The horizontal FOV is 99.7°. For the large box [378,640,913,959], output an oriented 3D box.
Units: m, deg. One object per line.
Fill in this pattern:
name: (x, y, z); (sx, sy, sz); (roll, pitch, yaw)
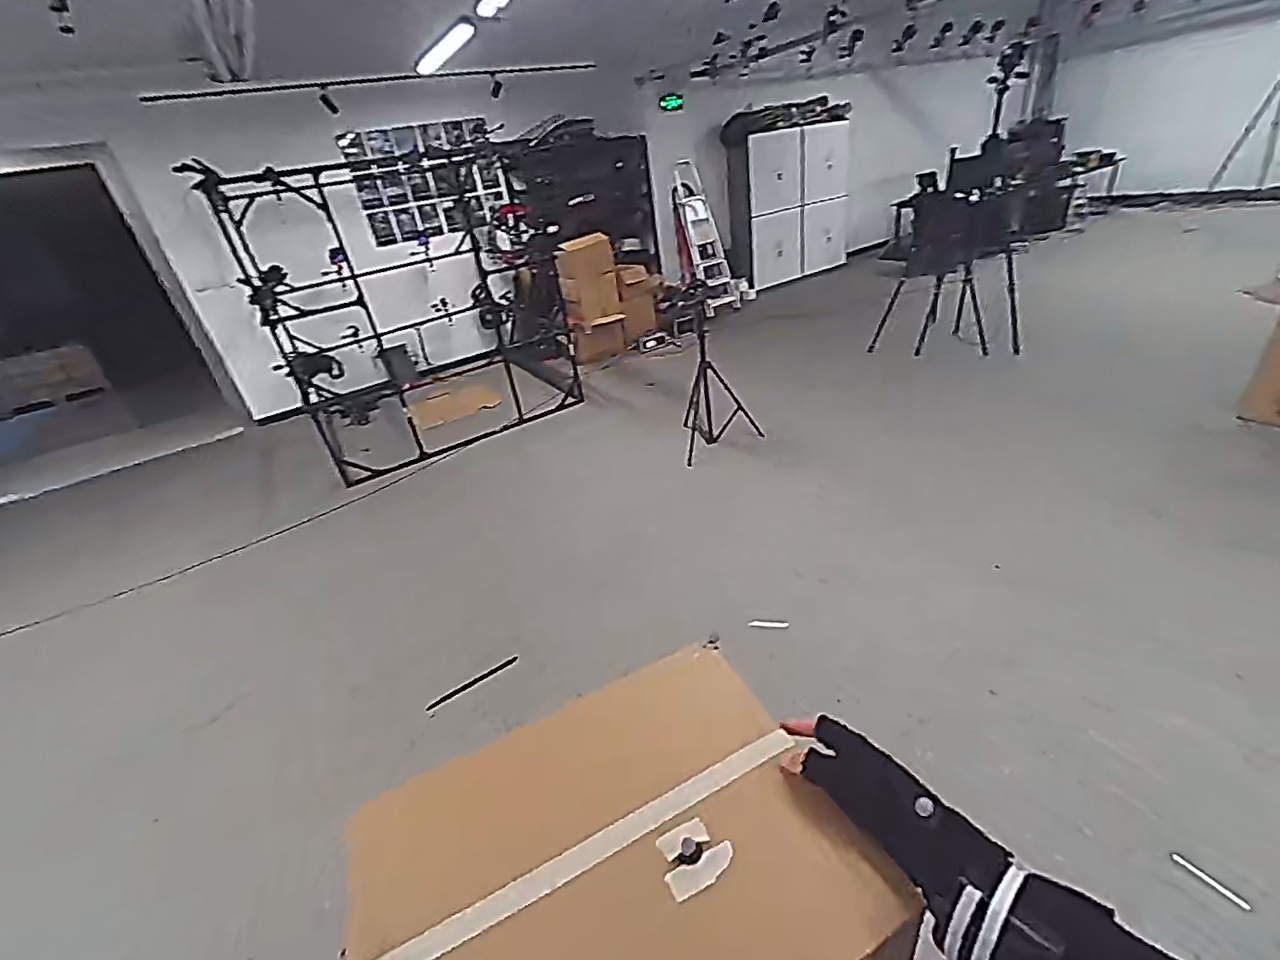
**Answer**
large box: (-0.004, 0.446, 0.552); (0.408, 0.320, 0.320); (-19, 31, -18)
